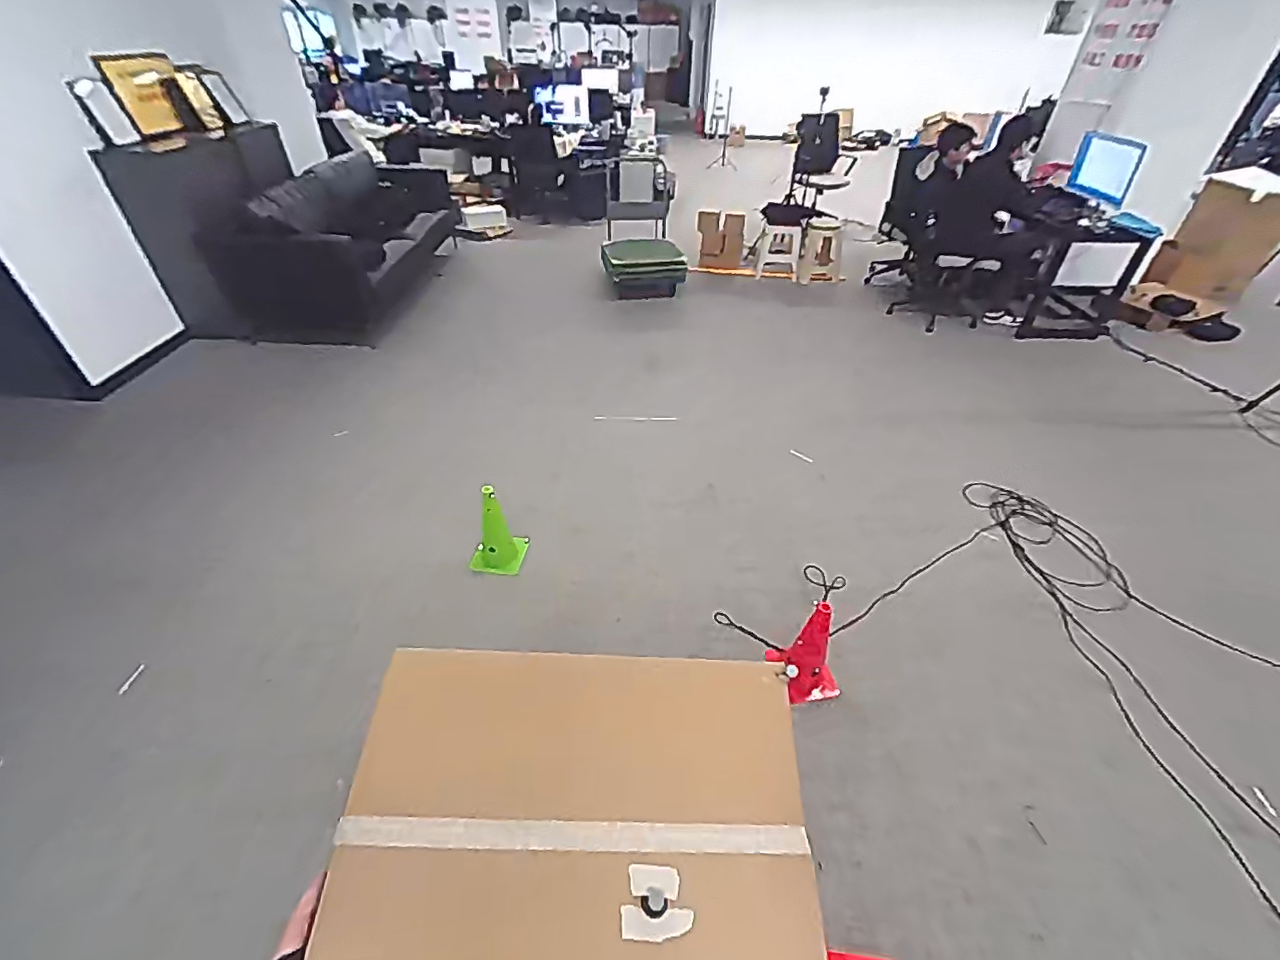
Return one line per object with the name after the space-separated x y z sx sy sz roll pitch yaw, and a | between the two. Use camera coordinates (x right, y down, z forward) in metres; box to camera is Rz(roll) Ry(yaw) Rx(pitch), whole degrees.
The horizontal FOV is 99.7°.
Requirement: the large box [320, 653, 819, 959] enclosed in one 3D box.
-0.063 0.400 0.599 0.408 0.320 0.320 3 54 -3 | large box

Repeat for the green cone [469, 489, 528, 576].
-0.576 0.177 2.099 0.200 0.368 0.202 5 41 5 | green cone
